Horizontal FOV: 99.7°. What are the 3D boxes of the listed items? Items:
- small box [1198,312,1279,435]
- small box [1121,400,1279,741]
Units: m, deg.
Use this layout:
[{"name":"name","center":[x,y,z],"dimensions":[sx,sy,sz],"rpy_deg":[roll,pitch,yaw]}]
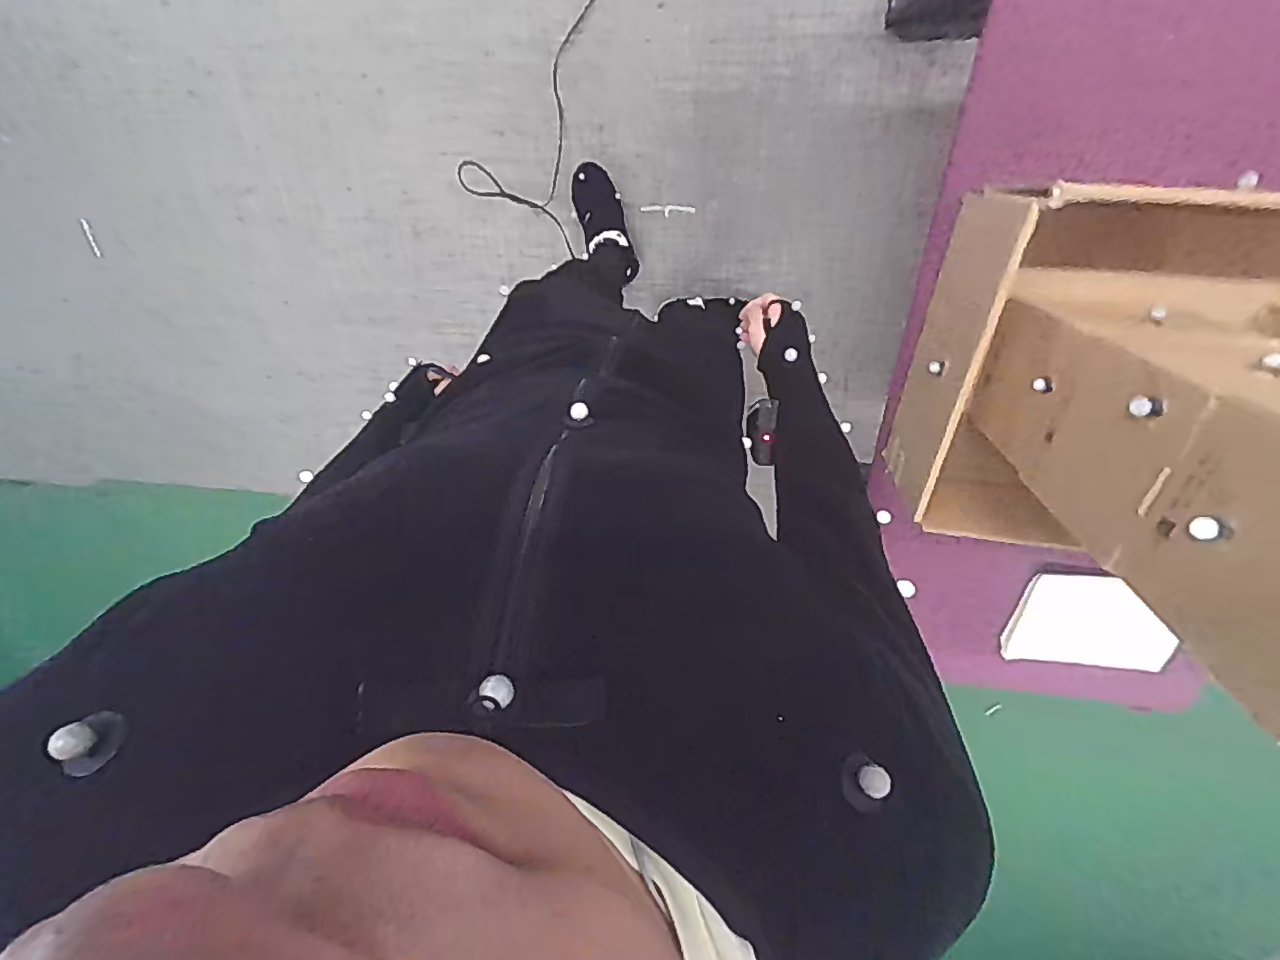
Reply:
[{"name":"small box","center":[0.803,-0.085,0.595],"dimensions":[0.179,0.176,0.168],"rpy_deg":[5,121,9]},{"name":"small box","center":[0.484,0.059,0.346],"dimensions":[0.179,0.176,0.168],"rpy_deg":[7,121,5]}]
